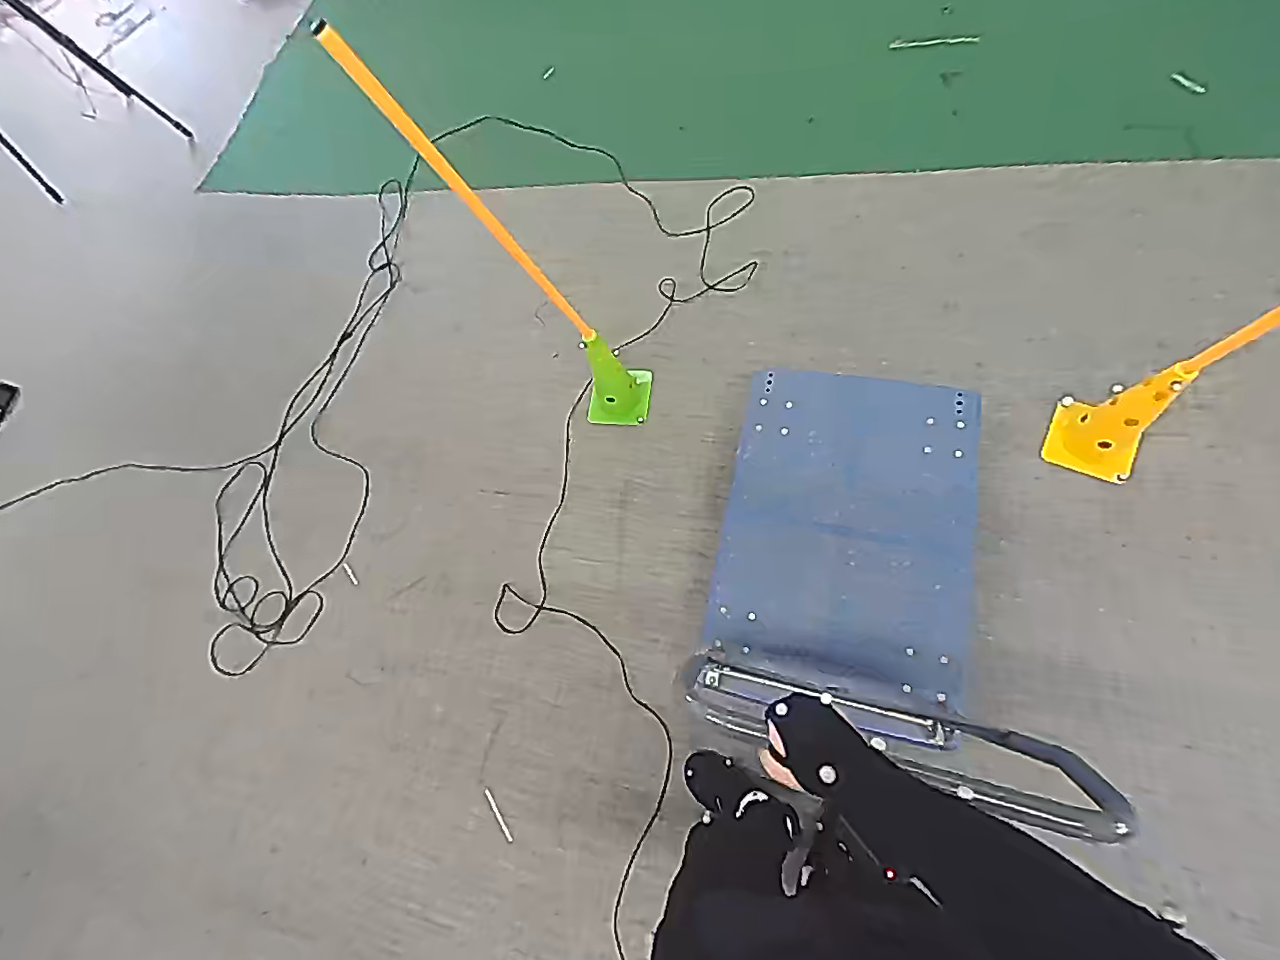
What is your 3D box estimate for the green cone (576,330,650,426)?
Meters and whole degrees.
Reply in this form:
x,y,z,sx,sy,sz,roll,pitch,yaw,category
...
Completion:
x,y,z,sx,sy,sz,roll,pitch,yaw,category
-0.109,-0.330,1.627,0.202,0.368,0.200,2,70,15,green cone
